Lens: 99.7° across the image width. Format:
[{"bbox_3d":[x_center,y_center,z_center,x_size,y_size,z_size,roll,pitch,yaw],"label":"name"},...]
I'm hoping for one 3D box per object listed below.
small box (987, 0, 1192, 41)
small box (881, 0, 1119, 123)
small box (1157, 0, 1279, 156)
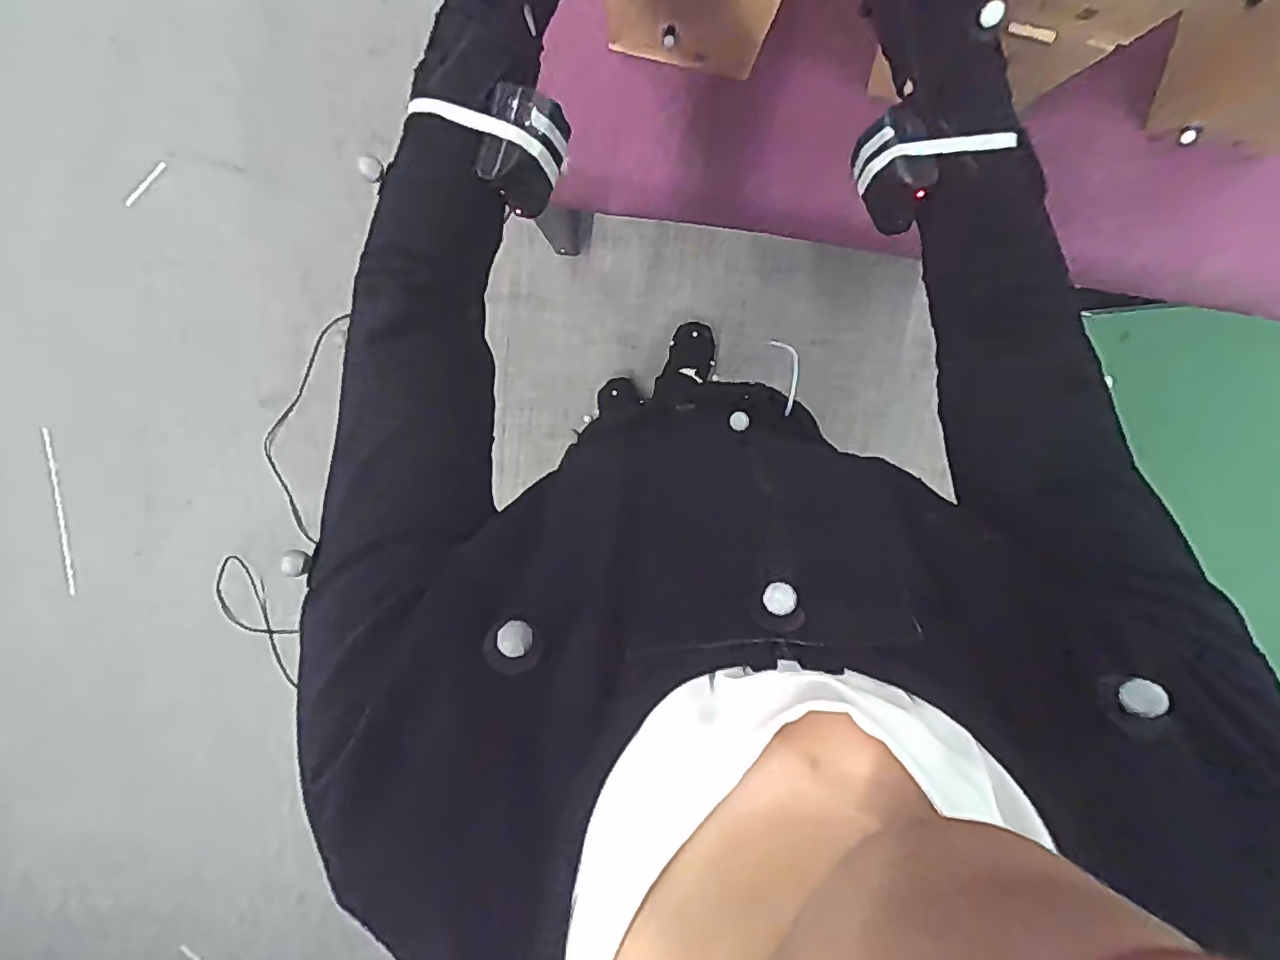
[{"bbox_3d":[0.375,-0.462,0.382,0.168,0.176,0.179,9,103,-4],"label":"small box"},{"bbox_3d":[0.367,-0.497,0.545,0.168,0.176,0.179,11,102,0],"label":"small box"},{"bbox_3d":[0.703,-0.465,0.555,0.168,0.176,0.179,11,103,-6],"label":"small box"}]
